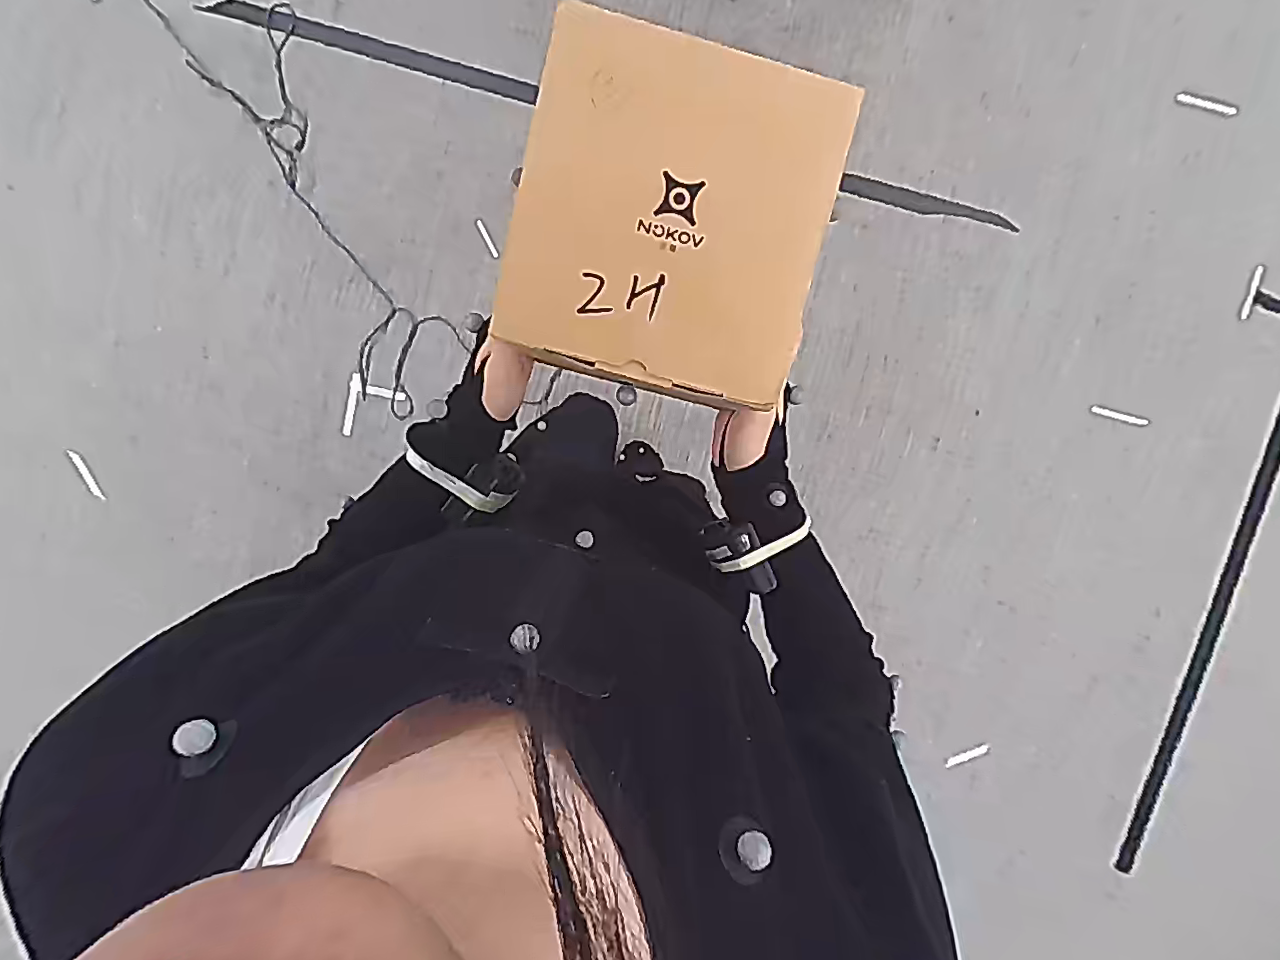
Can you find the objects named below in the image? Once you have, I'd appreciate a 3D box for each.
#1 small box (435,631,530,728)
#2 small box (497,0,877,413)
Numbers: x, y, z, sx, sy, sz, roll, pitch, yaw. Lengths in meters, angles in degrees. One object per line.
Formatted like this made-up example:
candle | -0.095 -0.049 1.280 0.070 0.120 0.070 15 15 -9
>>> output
small box | -0.410 0.520 1.433 0.179 0.176 0.168 16 94 -2
small box | 0.020 -0.150 0.361 0.168 0.176 0.179 15 97 -4
